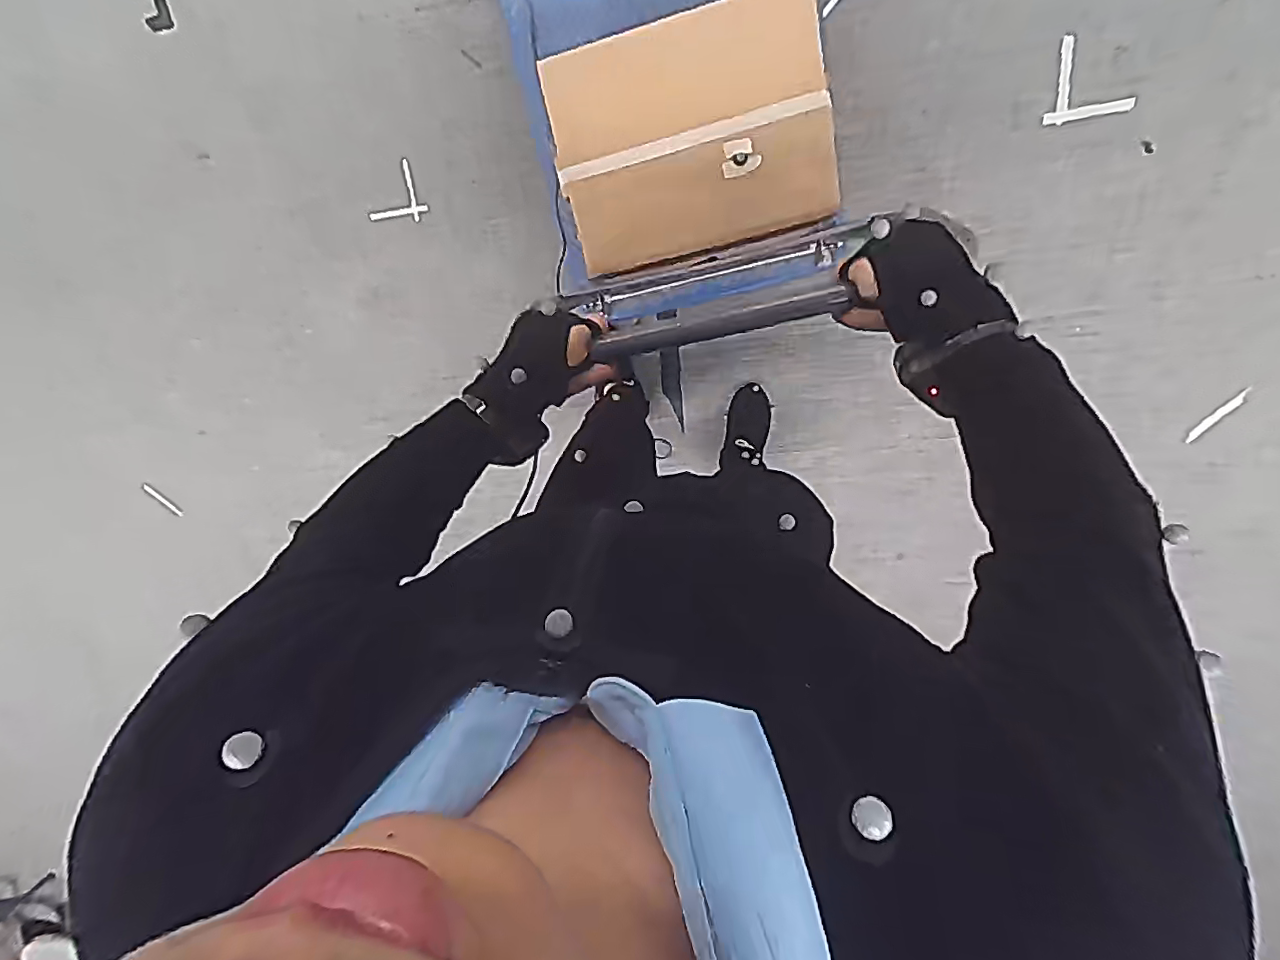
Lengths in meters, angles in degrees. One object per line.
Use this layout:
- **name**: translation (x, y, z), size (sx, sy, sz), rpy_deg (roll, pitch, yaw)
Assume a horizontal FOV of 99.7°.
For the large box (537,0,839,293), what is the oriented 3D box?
- **large box**: translation (0.085, -0.537, 0.945), size (0.408, 0.320, 0.320), rpy_deg (-12, 107, 9)
